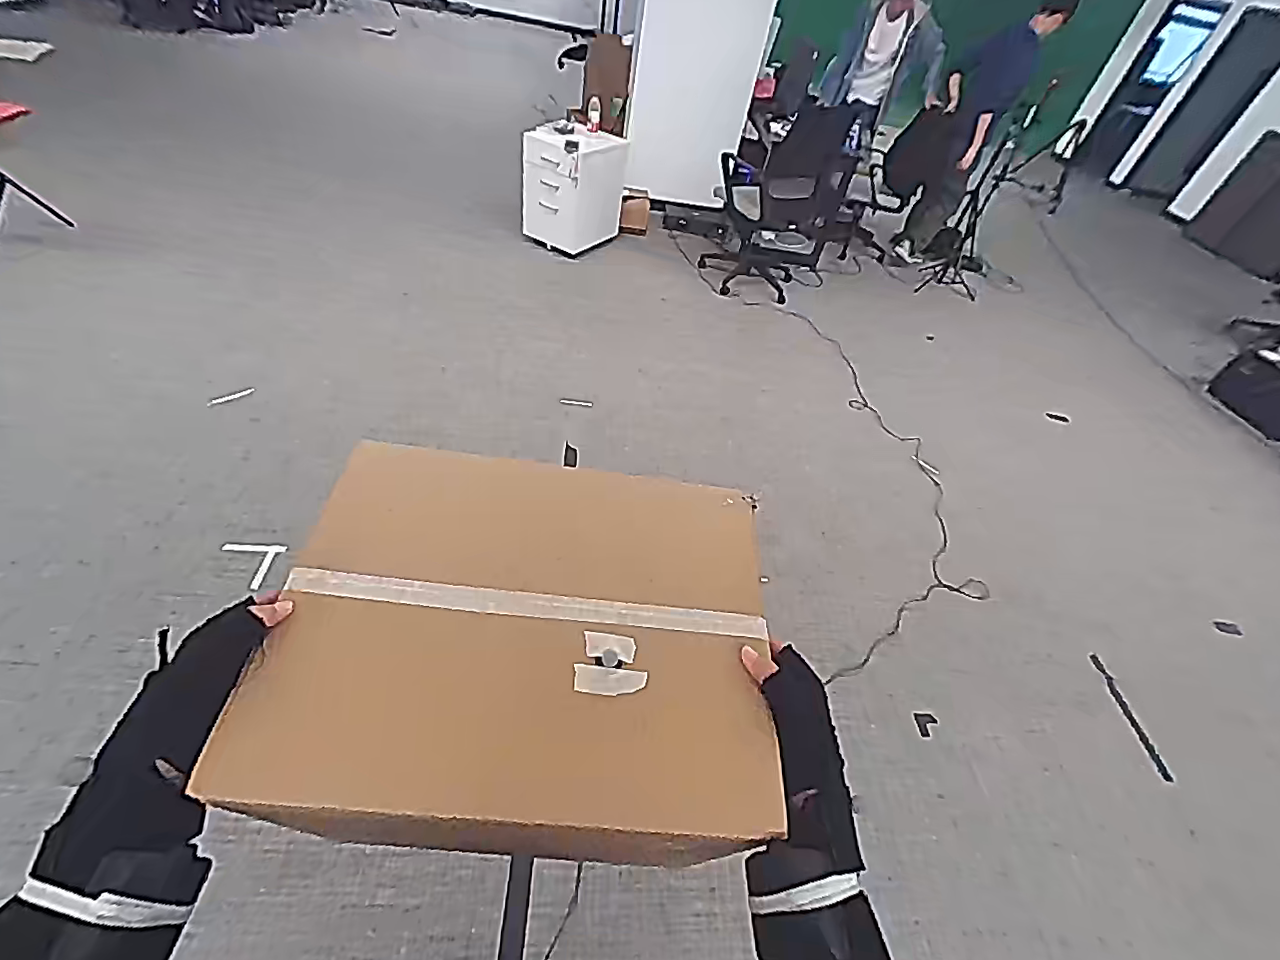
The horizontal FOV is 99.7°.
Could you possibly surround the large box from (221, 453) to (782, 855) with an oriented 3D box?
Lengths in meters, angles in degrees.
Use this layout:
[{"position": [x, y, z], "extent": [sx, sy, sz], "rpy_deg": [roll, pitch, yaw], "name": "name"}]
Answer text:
[{"position": [-0.108, 0.205, 0.588], "extent": [0.408, 0.320, 0.320], "rpy_deg": [8, 52, -6], "name": "large box"}]
